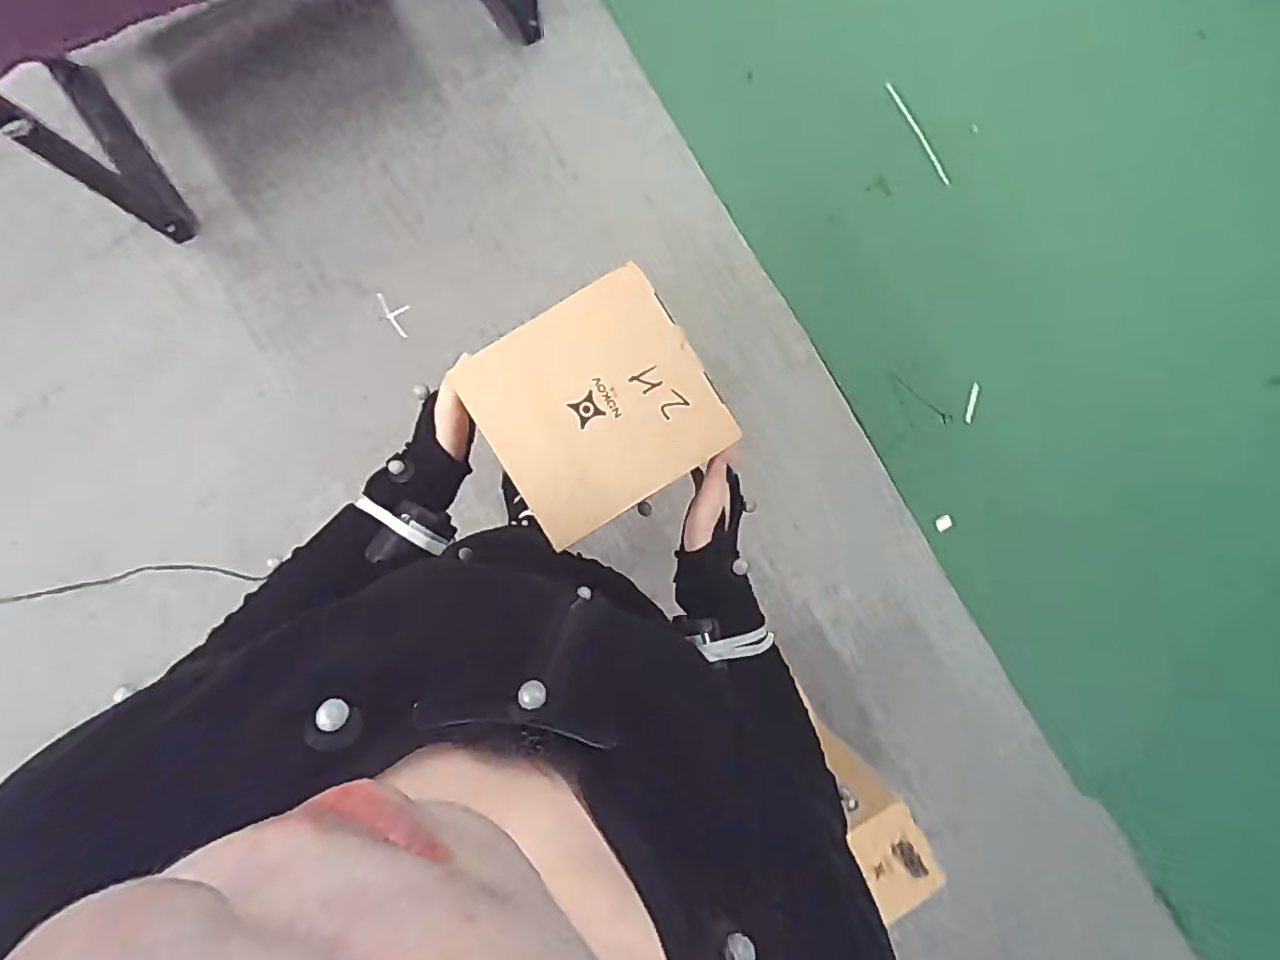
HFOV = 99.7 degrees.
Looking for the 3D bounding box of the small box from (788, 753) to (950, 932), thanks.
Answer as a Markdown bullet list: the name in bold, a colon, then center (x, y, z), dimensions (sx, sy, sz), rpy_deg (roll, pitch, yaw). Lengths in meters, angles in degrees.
- **small box**: center (0.401, 0.637, 0.977), dimensions (0.179, 0.176, 0.168), rpy_deg (-30, 91, -7)
